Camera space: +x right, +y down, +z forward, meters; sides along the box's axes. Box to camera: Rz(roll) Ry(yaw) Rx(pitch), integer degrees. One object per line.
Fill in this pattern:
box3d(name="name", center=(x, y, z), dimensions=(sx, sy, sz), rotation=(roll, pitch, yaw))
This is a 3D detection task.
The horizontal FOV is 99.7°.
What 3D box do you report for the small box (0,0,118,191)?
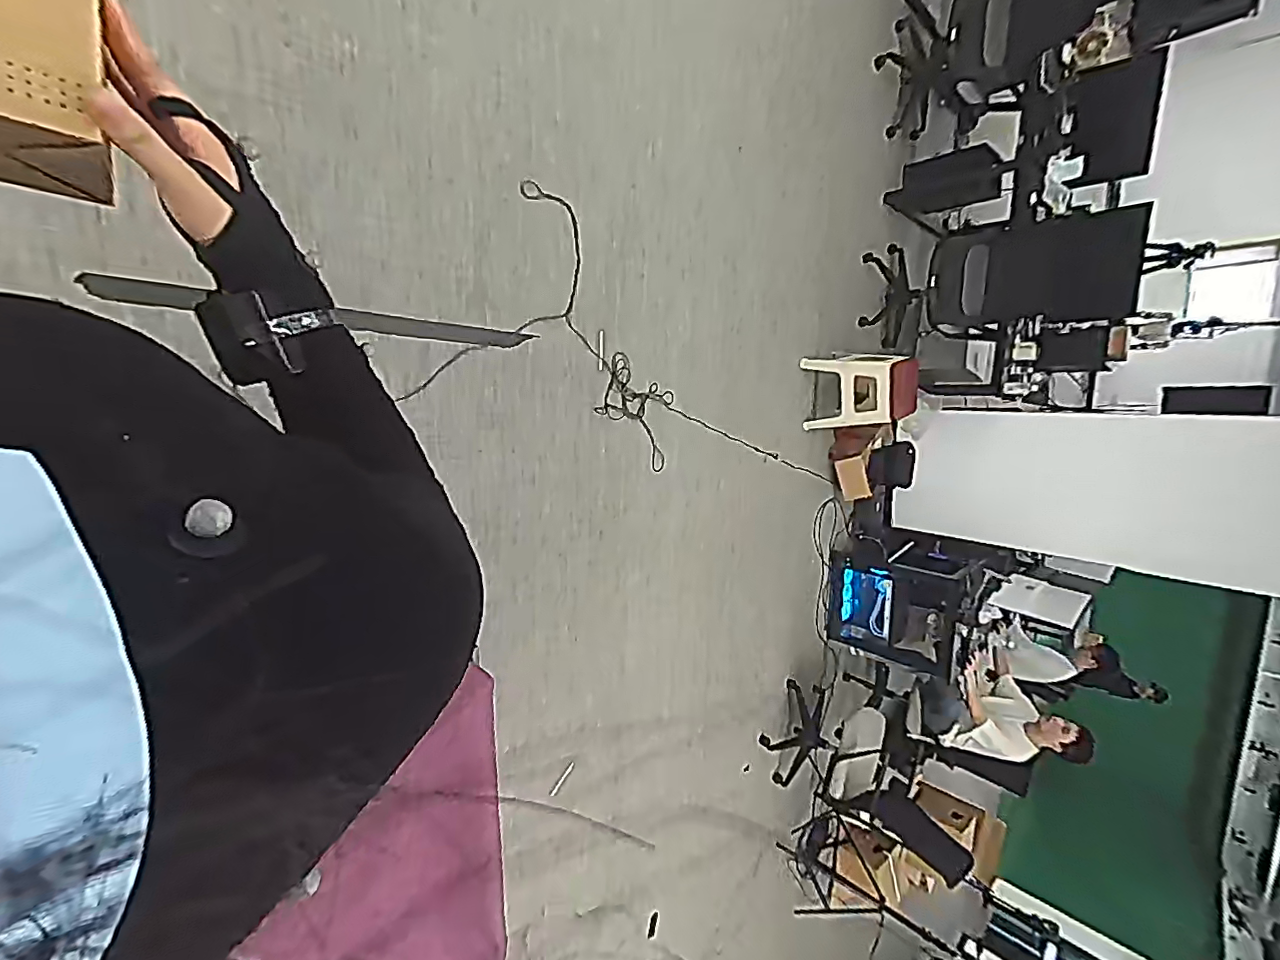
box3d(name="small box", center=(-0.411, -0.285, 0.303), dimensions=(0.168, 0.179, 0.176), rotation=(-1, 101, -43))
